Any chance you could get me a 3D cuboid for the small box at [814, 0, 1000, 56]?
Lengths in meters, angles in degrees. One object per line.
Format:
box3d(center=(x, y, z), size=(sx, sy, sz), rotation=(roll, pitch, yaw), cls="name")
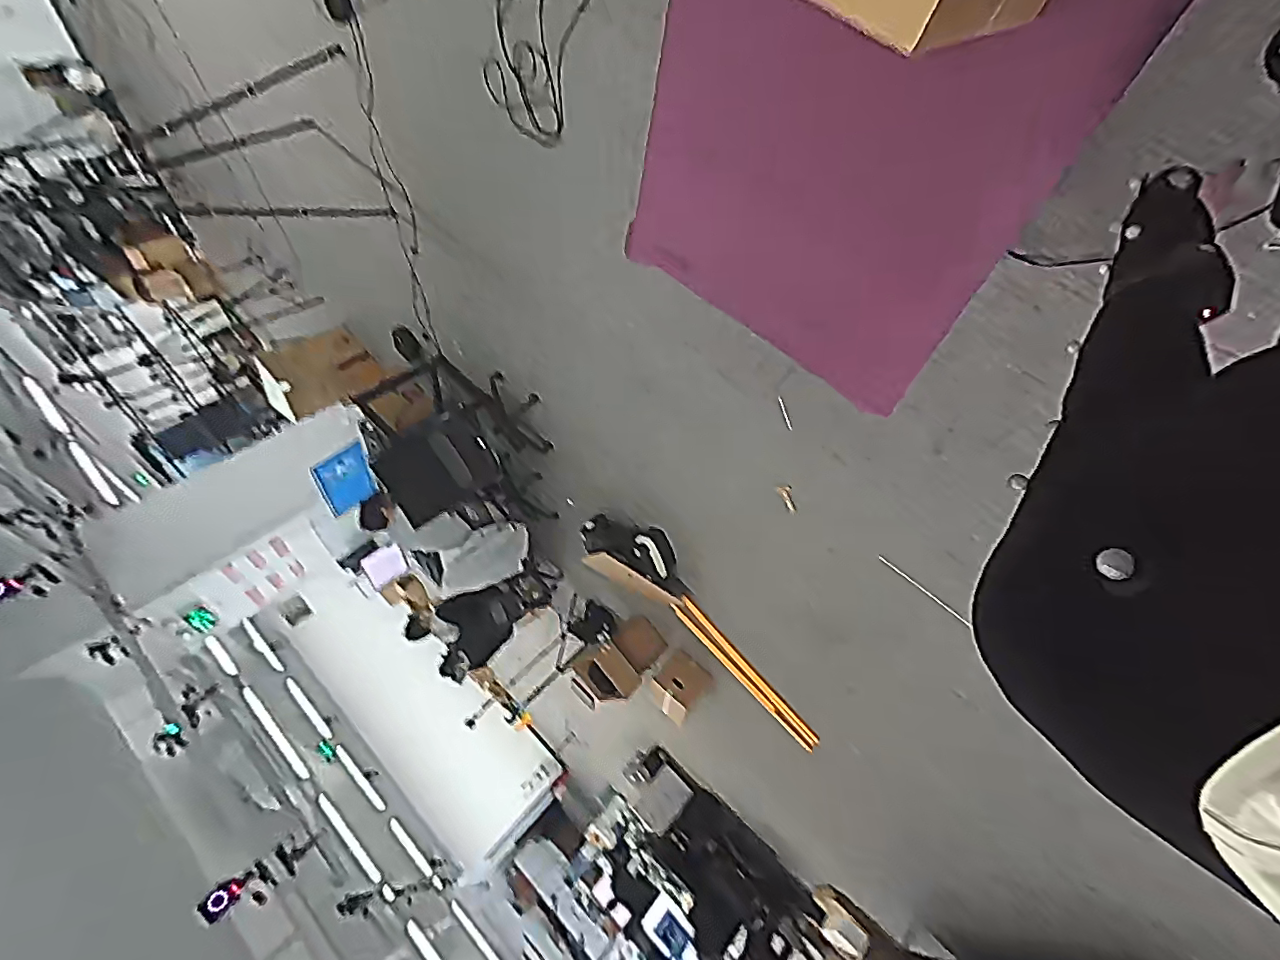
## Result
box3d(center=(0.235, -0.485, 0.429), size=(0.168, 0.176, 0.179), rotation=(44, 148, 14), cls="small box")
